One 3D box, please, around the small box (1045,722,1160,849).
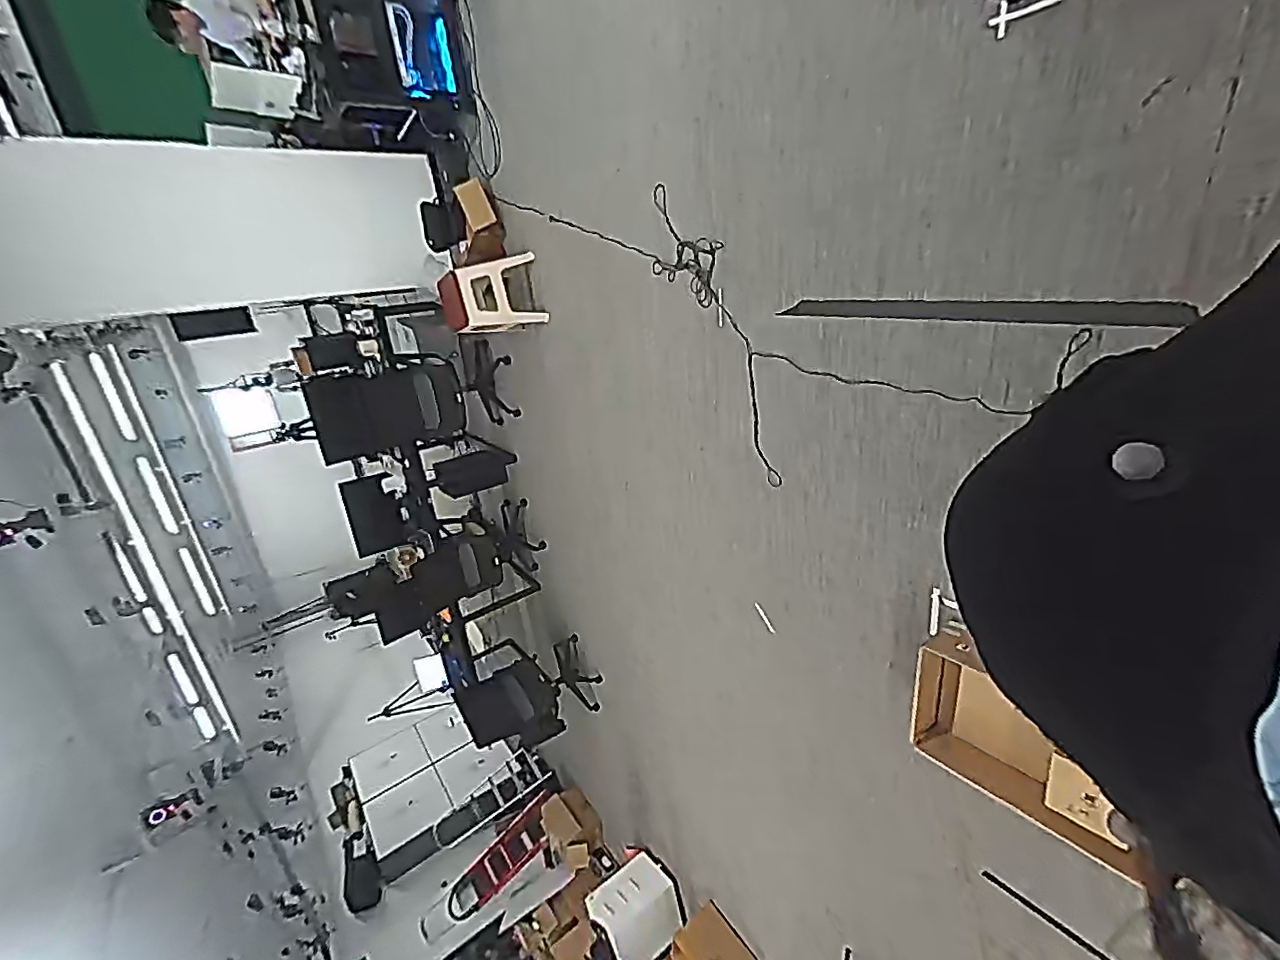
[{"bbox_3d":[1.132,0.735,1.324,0.168,0.176,0.179,19,123,52],"label":"small box"}]
